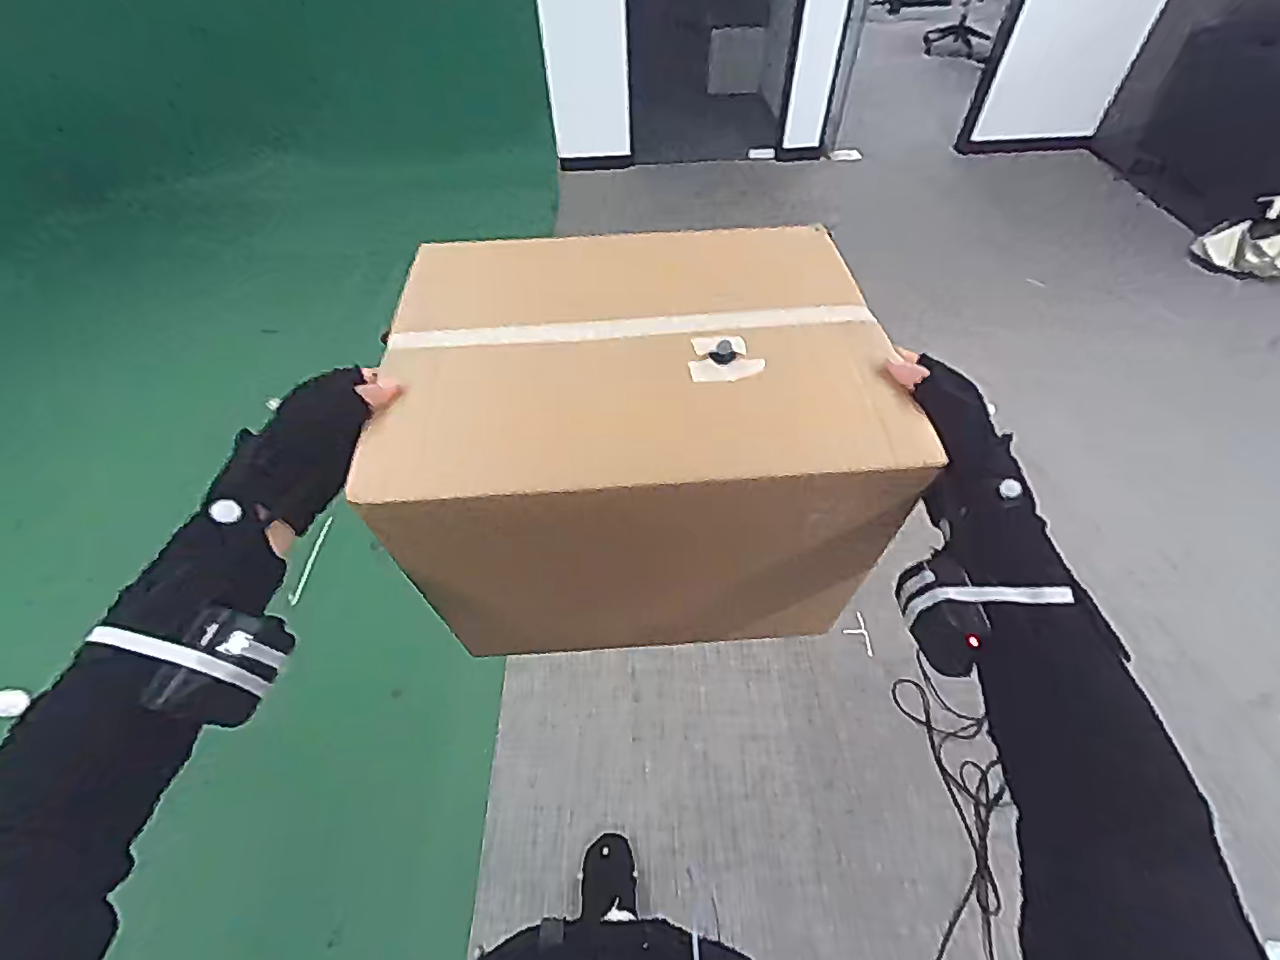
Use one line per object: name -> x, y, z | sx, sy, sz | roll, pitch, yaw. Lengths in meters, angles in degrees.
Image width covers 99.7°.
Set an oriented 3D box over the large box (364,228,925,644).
large box -> -0.005, -0.037, 0.581 | 0.408, 0.320, 0.320 | -3, 54, -2
